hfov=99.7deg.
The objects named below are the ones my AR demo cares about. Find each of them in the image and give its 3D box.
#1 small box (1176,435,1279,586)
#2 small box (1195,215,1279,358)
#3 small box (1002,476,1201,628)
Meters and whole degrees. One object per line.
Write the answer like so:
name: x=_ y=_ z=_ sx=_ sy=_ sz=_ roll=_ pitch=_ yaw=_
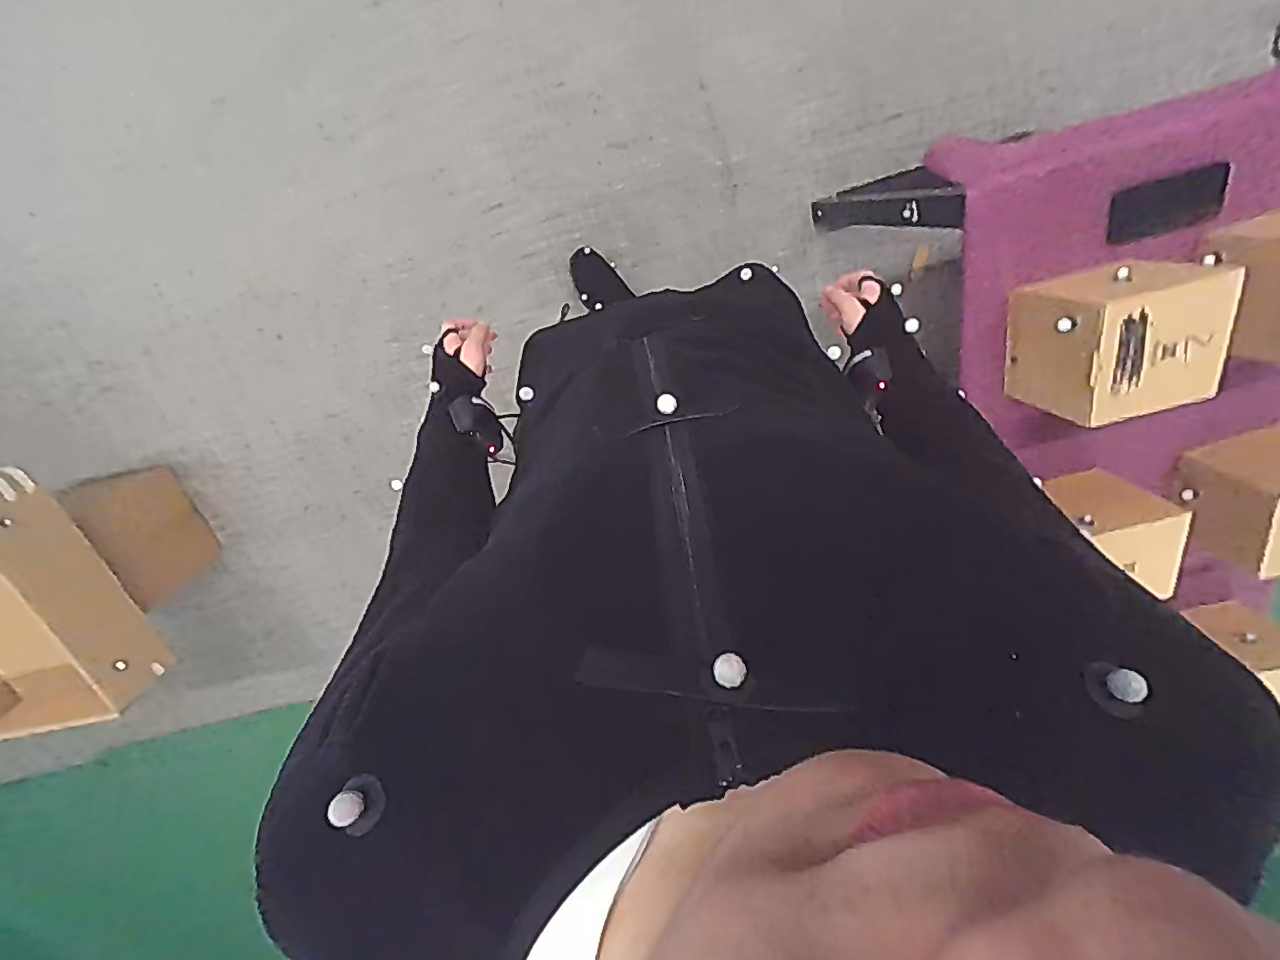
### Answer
small box: x=1.044 y=0.040 z=0.880 sx=0.179 sy=0.176 sz=0.168 roll=-16 pitch=114 yaw=5
small box: x=0.918 y=-0.267 z=0.727 sx=0.179 sy=0.176 sz=0.168 roll=-16 pitch=115 yaw=4
small box: x=0.746 y=0.111 z=0.896 sx=0.179 sy=0.176 sz=0.168 roll=-14 pitch=115 yaw=3
